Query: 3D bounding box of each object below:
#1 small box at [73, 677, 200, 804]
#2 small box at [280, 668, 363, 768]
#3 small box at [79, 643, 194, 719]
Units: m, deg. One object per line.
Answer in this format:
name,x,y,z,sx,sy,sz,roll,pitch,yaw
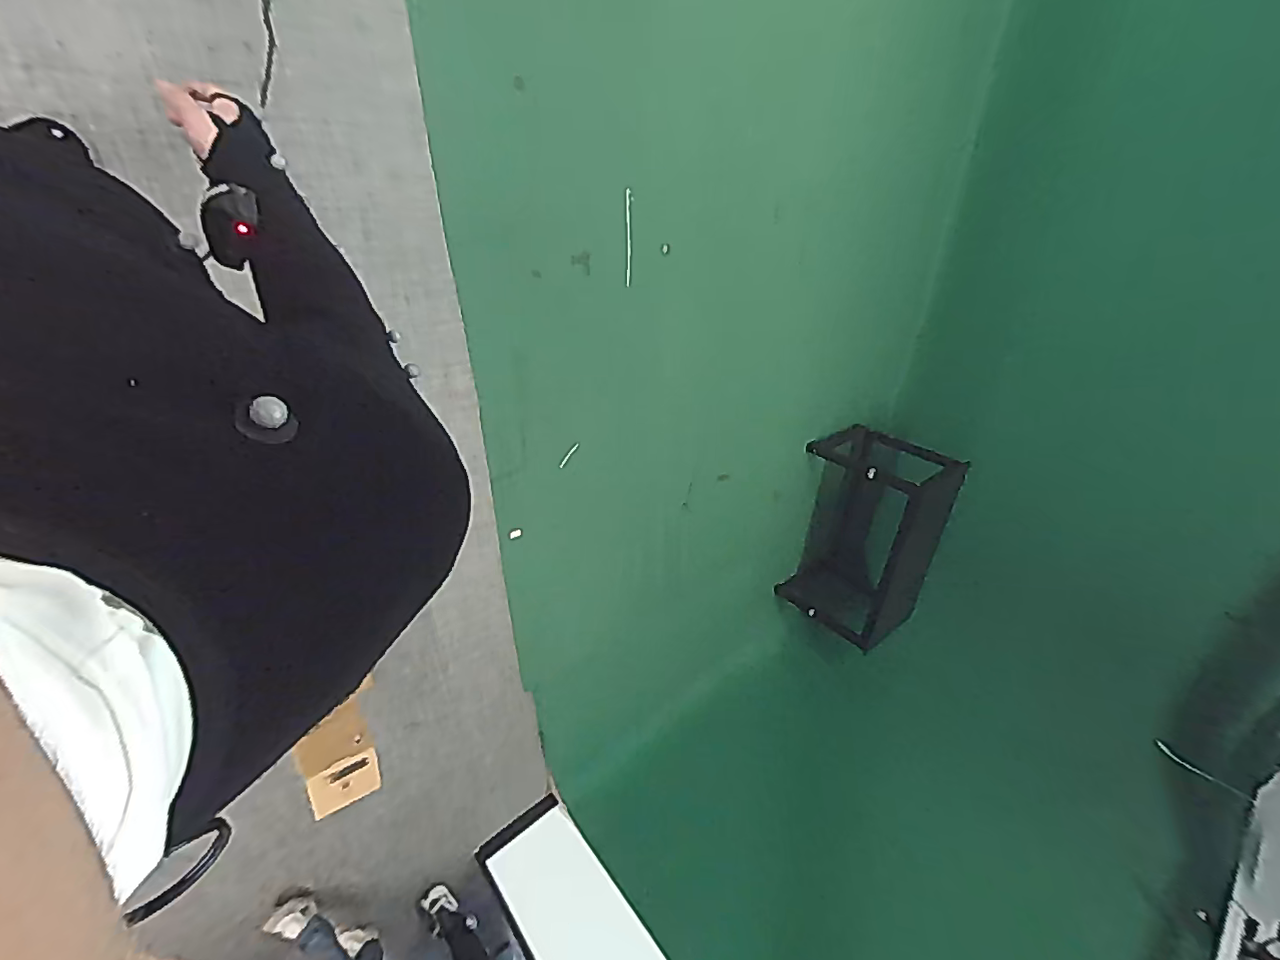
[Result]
small box,-1.207,0.619,1.302,0.179,0.176,0.168,-25,129,-34
small box,-0.947,0.697,1.600,0.179,0.176,0.168,-16,126,-38
small box,-1.311,0.560,1.410,0.179,0.176,0.168,-23,128,-34
